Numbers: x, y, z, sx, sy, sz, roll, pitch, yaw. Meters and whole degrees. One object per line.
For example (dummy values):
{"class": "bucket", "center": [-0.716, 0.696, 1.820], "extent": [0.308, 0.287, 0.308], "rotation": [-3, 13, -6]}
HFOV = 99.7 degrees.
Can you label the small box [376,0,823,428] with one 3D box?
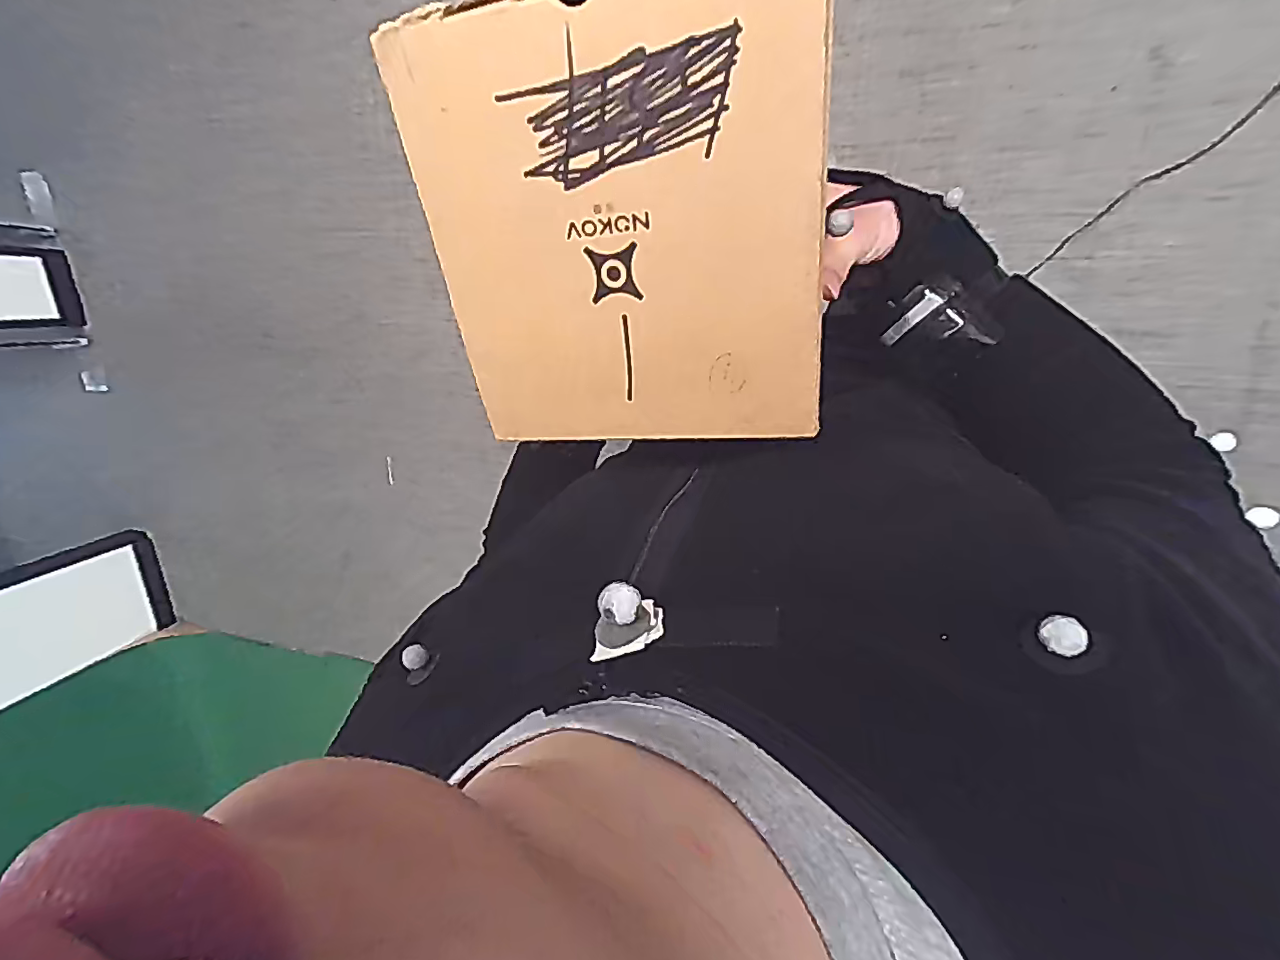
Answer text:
{"class": "small box", "center": [0.007, -0.142, 0.290], "extent": [0.168, 0.176, 0.179], "rotation": [1, 122, 17]}
